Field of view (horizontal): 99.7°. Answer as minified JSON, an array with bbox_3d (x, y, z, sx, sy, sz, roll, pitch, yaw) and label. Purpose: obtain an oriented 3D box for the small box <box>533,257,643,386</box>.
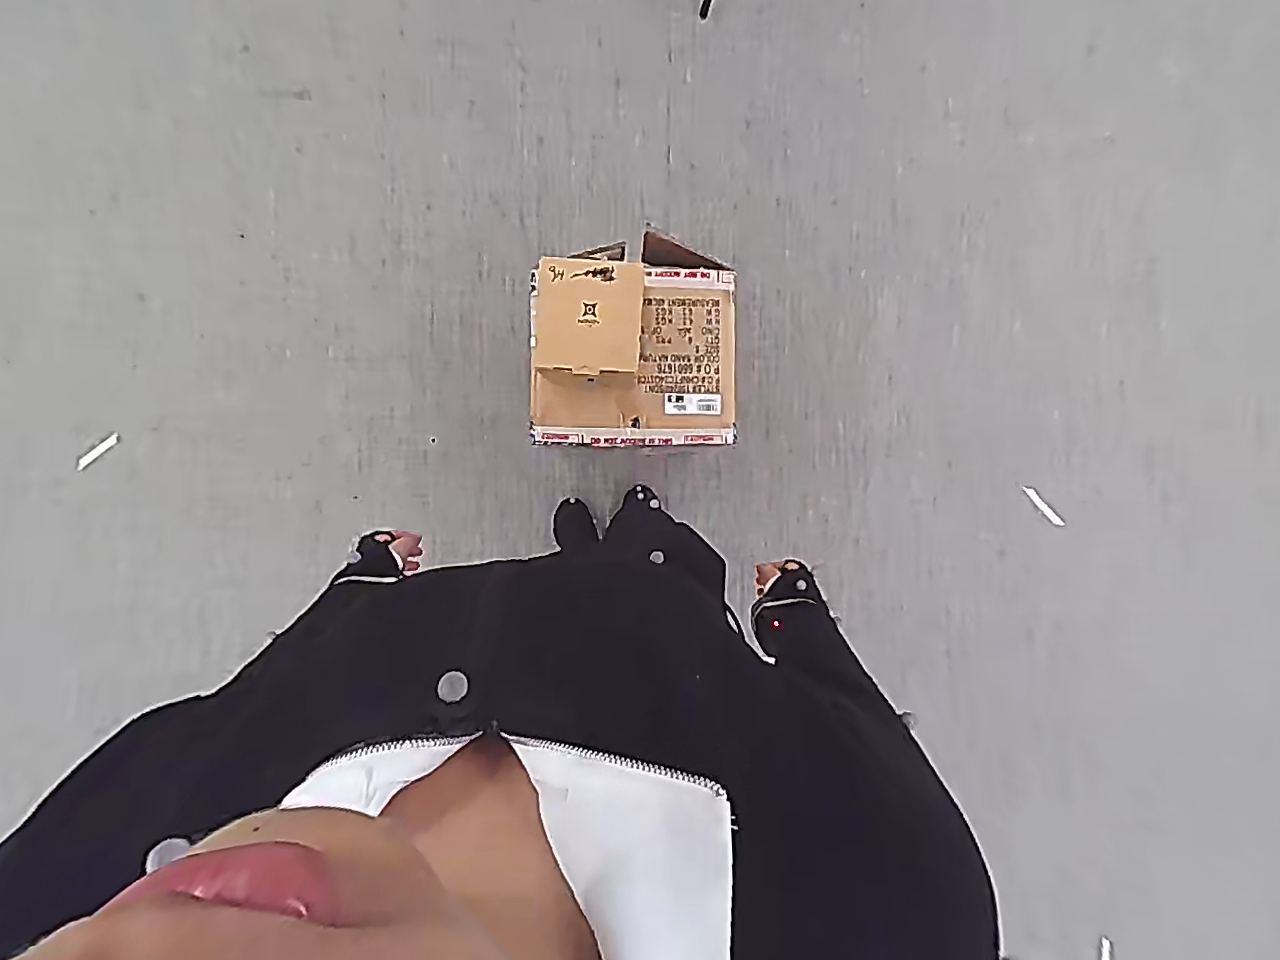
[{"bbox_3d":[-0.081,-0.259,0.921,0.168,0.176,0.179,3,93,-1],"label":"small box"}]
